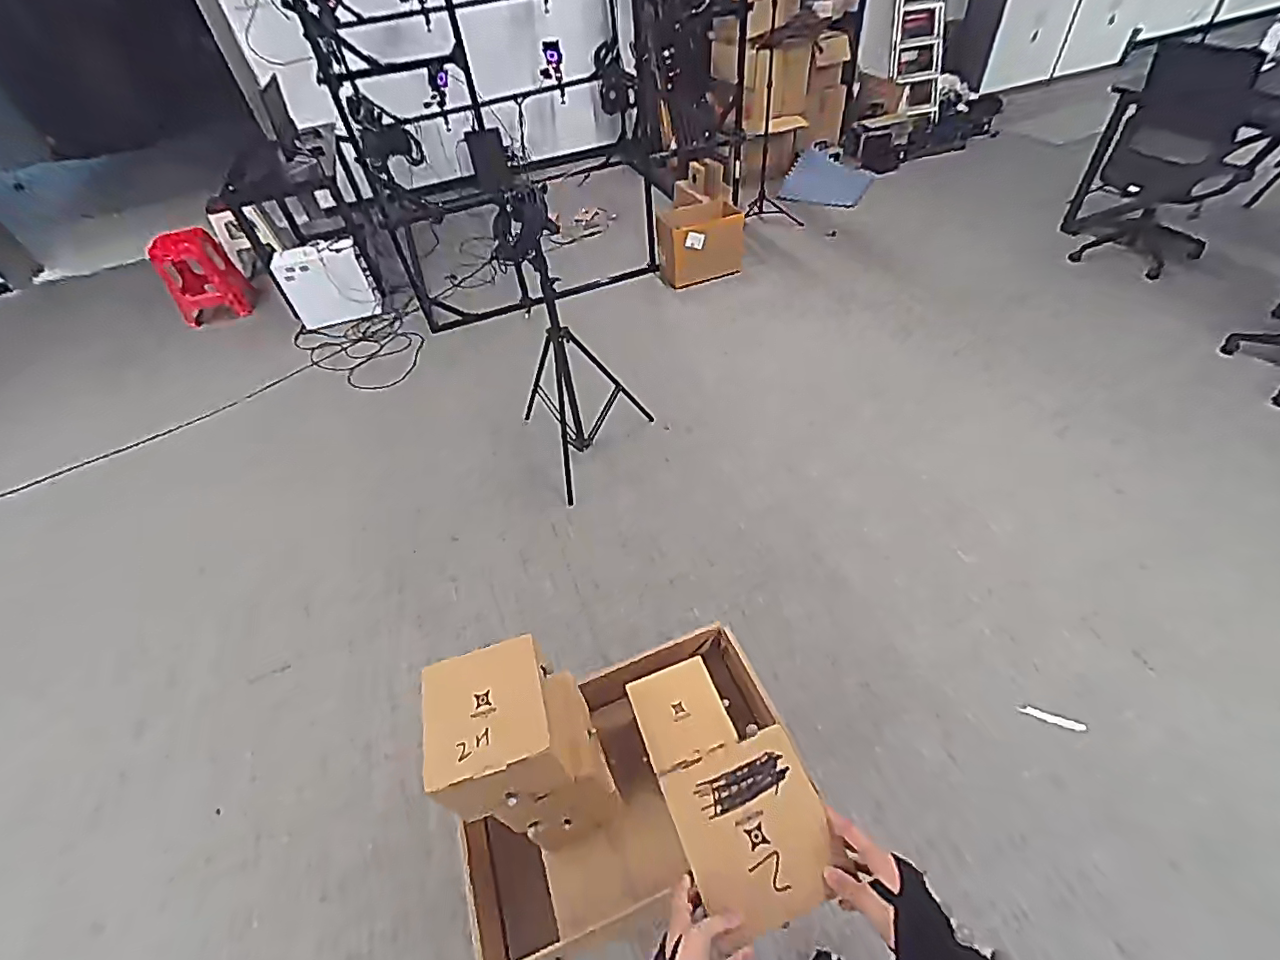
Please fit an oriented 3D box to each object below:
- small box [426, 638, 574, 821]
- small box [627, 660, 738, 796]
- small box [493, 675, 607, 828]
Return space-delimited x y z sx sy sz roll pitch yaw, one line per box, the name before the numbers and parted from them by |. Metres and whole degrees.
small box | -0.205 0.371 0.804 0.168 0.176 0.179 -16 48 -8
small box | 0.083 0.502 1.095 0.168 0.176 0.179 -19 49 -10
small box | -0.162 0.472 0.930 0.168 0.176 0.179 -17 47 -9
